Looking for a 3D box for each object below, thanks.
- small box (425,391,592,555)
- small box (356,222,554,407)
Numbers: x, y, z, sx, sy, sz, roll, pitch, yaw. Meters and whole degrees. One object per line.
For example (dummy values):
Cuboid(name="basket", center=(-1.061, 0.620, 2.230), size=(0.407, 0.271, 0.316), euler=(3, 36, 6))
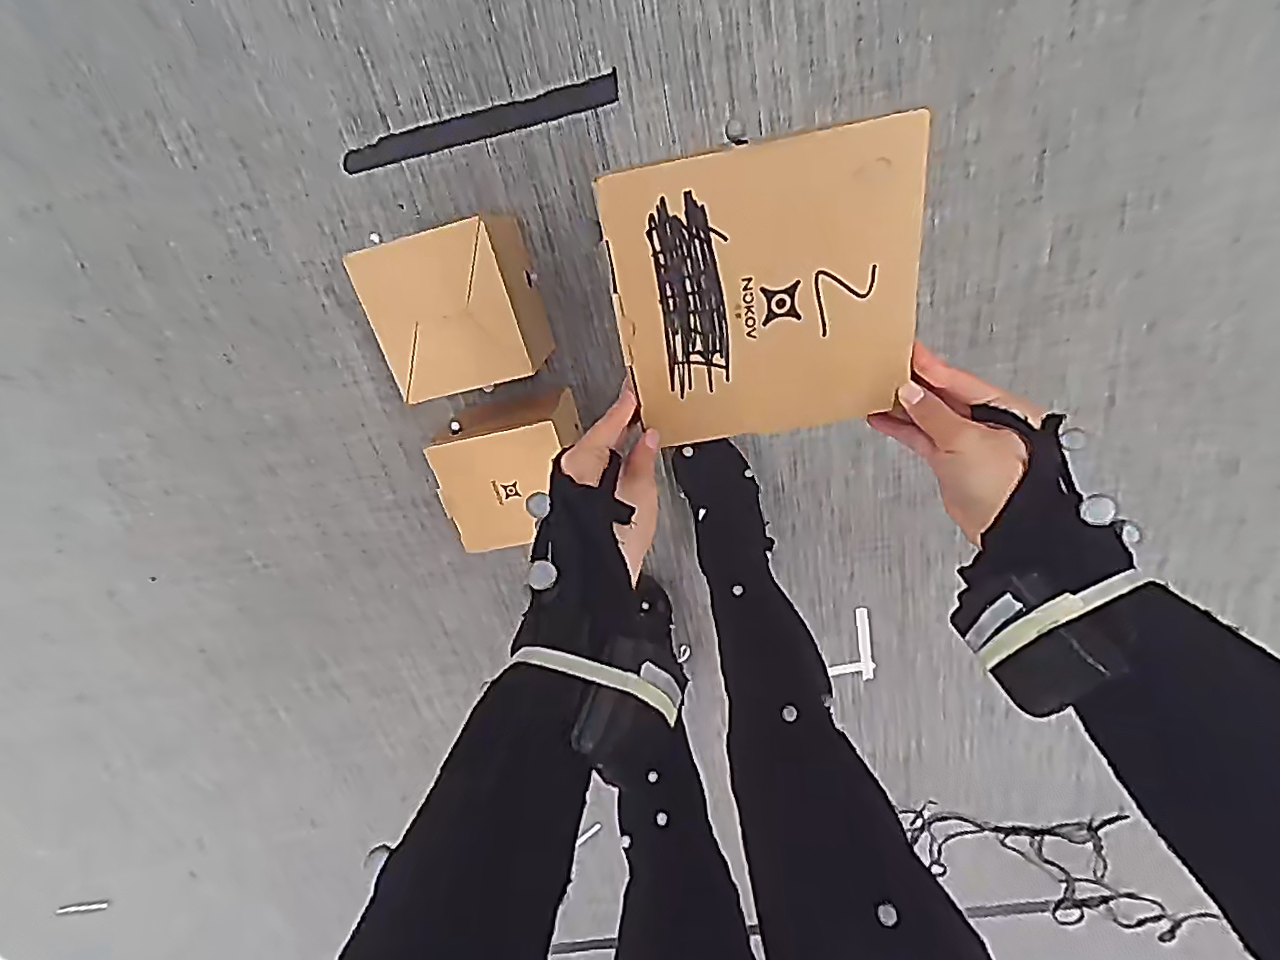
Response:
Cuboid(name="small box", center=(-0.172, -0.017, 0.779), size=(0.179, 0.176, 0.168), euler=(-11, 114, 6))
Cuboid(name="small box", center=(-0.223, -0.213, 0.683), size=(0.168, 0.176, 0.179), euler=(-12, 114, 7))
